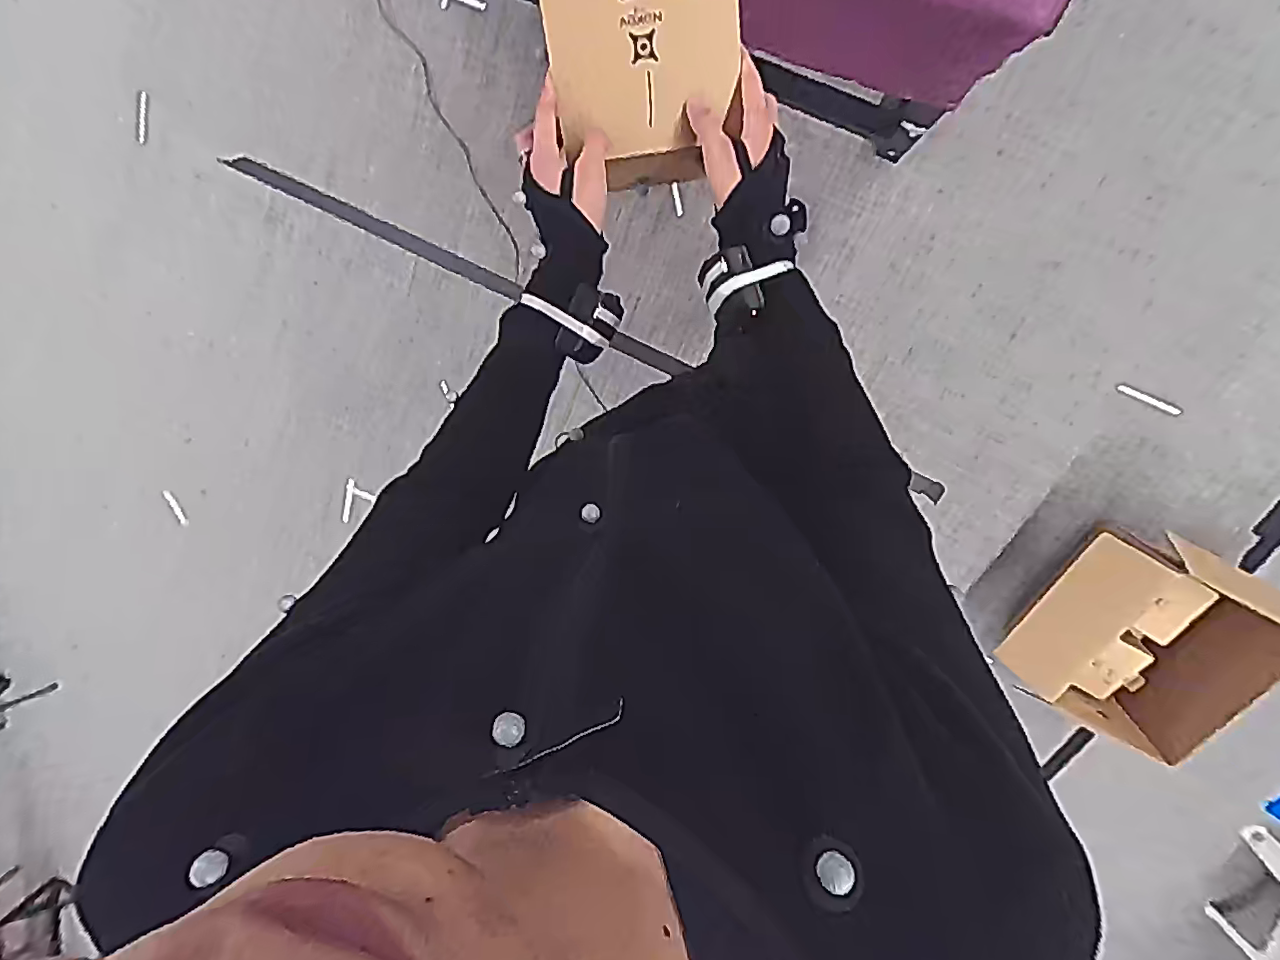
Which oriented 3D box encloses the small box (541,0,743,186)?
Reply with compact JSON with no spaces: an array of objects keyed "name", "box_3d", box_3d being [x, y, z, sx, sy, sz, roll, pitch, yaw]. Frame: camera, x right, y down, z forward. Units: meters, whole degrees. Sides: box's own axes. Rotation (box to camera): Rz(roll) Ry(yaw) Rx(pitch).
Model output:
[{"name":"small box","box_3d":[-0.005,-0.412,0.533,0.168,0.176,0.179,-10,109,-1]}]
